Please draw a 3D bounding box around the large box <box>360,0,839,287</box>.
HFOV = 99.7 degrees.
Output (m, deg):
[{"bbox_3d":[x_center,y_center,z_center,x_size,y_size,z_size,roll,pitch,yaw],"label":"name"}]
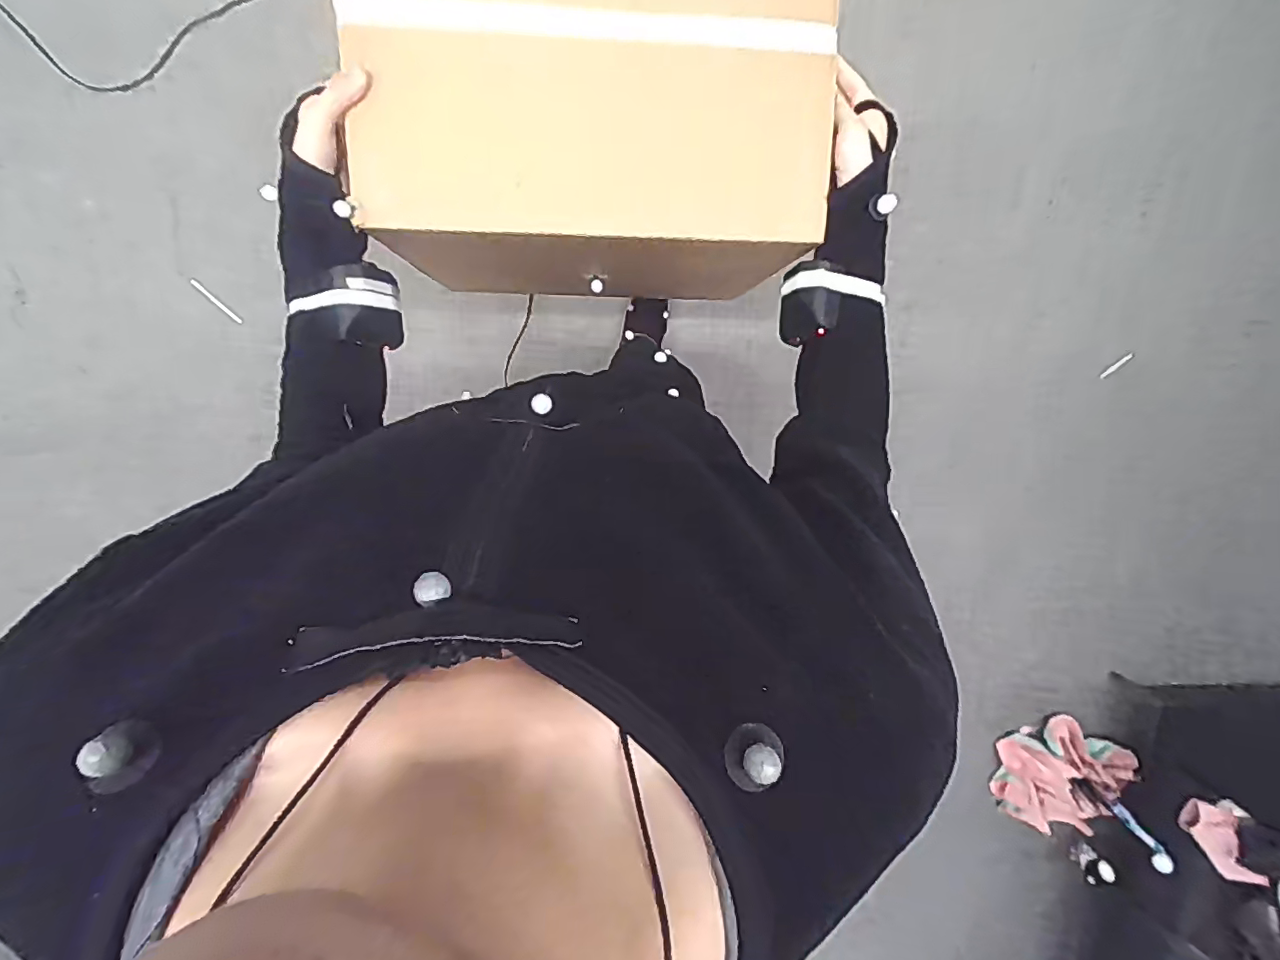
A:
[{"bbox_3d":[-0.038,-0.398,0.598,0.408,0.320,0.320,0,99,-4],"label":"large box"}]
